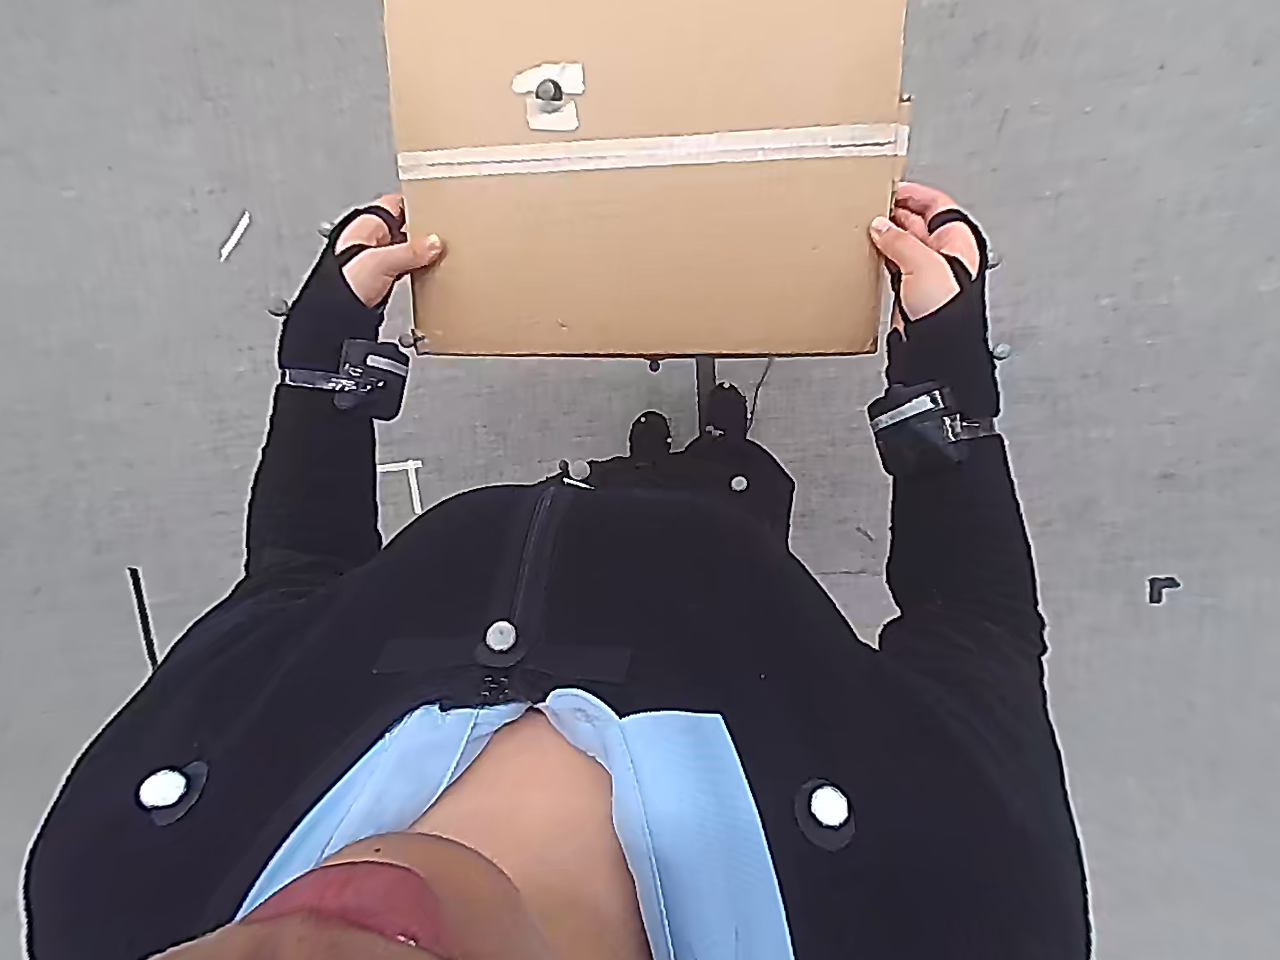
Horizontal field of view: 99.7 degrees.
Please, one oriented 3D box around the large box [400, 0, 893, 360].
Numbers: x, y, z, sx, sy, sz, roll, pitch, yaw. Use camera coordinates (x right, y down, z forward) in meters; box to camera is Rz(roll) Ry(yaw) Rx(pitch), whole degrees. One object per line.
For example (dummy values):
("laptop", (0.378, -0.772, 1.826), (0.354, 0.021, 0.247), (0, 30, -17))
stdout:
("large box", (0.020, -0.296, 0.596), (0.408, 0.320, 0.320), (1, 100, 9))
